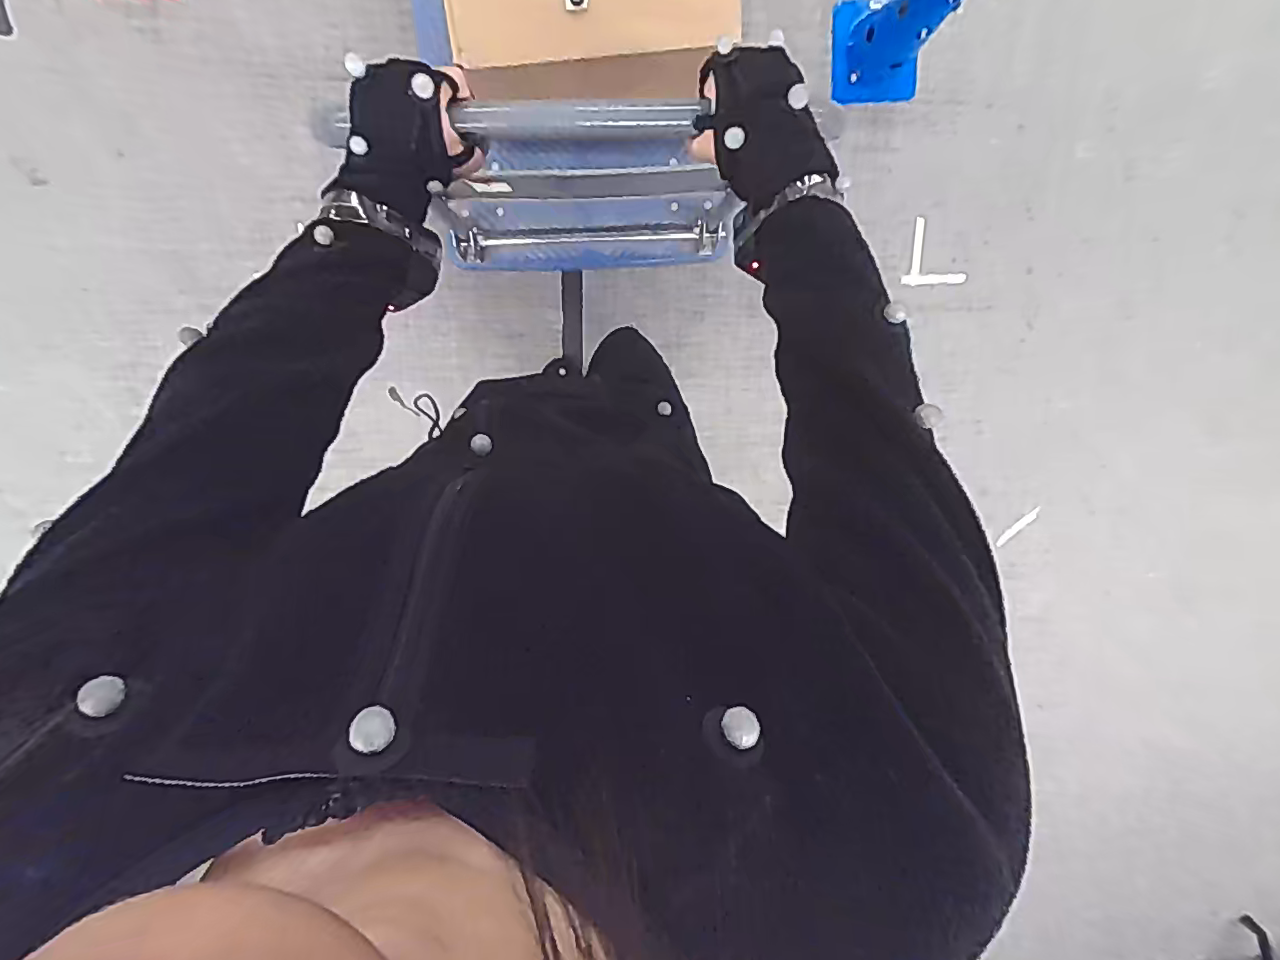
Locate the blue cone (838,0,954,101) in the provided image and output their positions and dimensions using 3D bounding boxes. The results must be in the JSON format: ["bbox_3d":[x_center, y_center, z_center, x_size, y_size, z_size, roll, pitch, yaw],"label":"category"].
[{"bbox_3d":[0.552,-0.916,1.054,0.193,0.380,0.192,-5,106,-5],"label":"blue cone"}]
